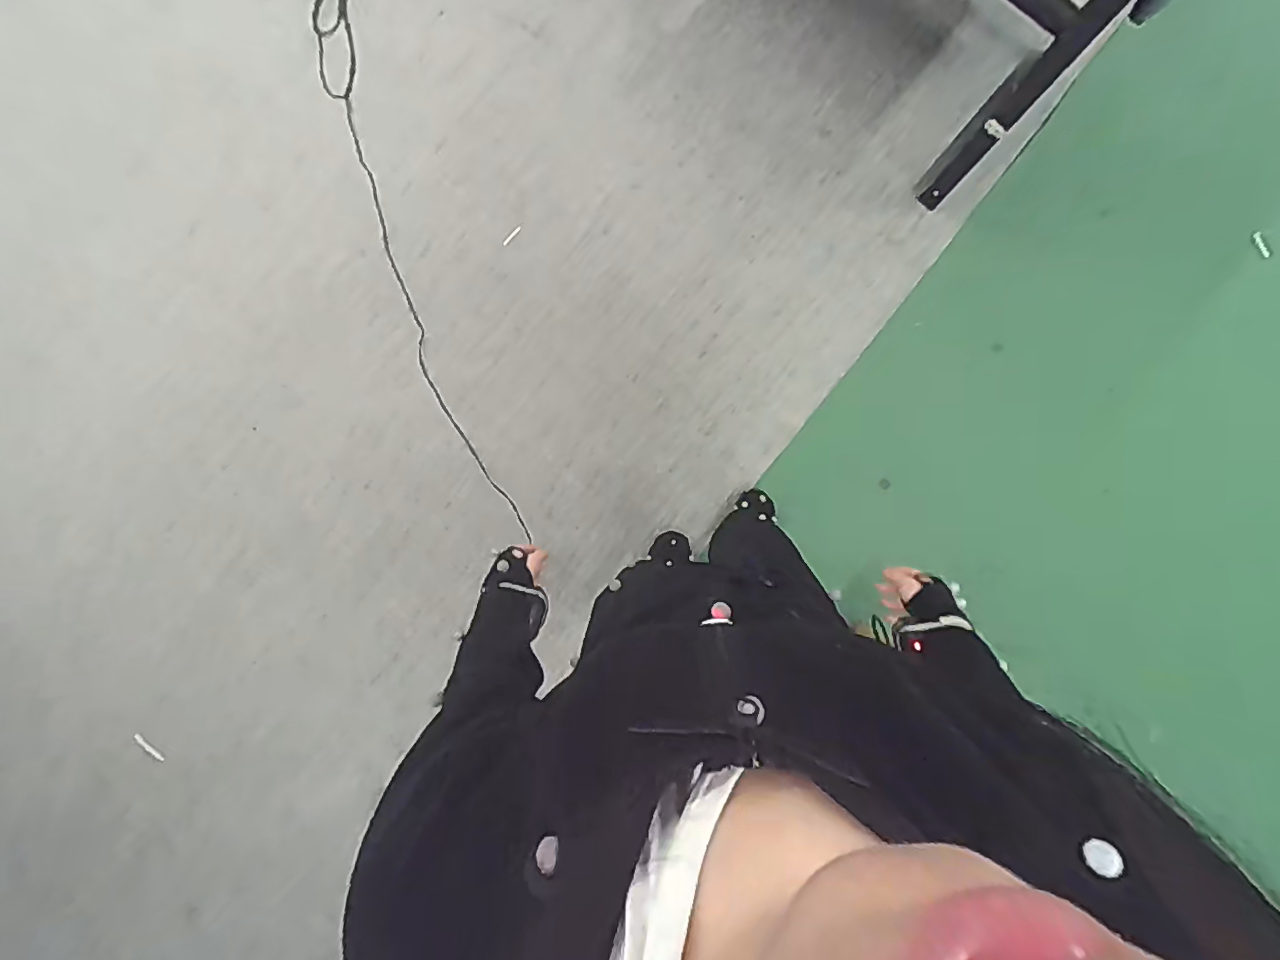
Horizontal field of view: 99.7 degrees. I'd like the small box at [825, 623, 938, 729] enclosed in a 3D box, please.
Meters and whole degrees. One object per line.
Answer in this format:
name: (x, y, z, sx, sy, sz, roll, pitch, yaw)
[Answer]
small box: (0.619, 0.499, 1.409, 0.179, 0.176, 0.168, 41, 89, 3)
